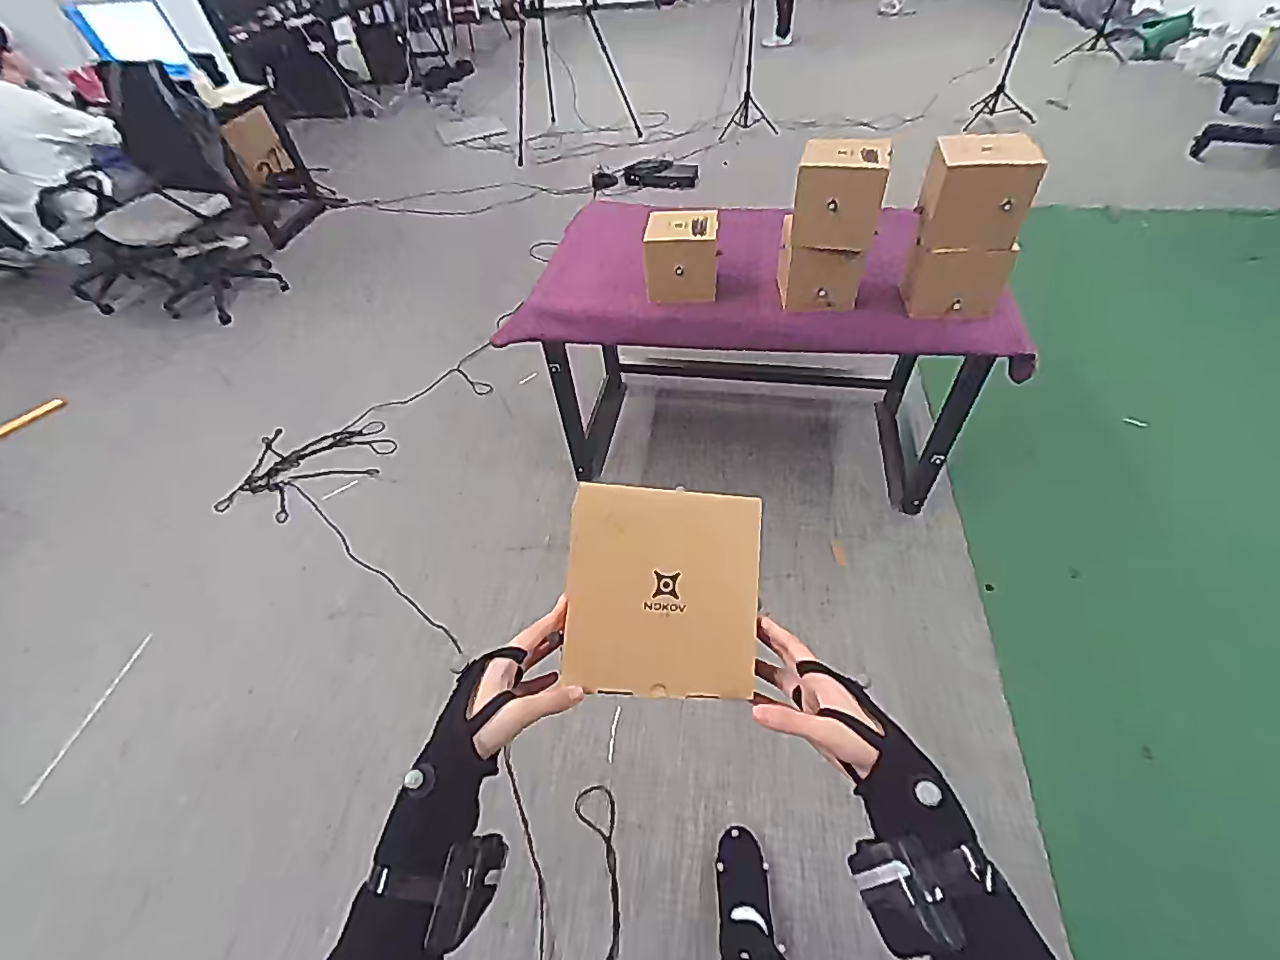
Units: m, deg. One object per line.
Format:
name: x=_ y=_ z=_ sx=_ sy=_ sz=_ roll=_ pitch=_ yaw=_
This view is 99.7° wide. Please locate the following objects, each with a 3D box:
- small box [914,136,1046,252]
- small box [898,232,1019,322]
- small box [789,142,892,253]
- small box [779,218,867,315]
small box: x=0.696 y=-0.593 z=1.129 sx=0.179 sy=0.176 sz=0.168 roll=6 pitch=50 yaw=13
small box: x=0.721 y=-0.479 z=1.245 sx=0.179 sy=0.176 sz=0.168 roll=2 pitch=49 yaw=9
small box: x=0.432 y=-0.611 z=1.175 sx=0.179 sy=0.176 sz=0.168 roll=11 pitch=50 yaw=17
small box: x=0.434 y=-0.521 z=1.316 sx=0.168 sy=0.176 sz=0.179 roll=0 pitch=49 yaw=7
